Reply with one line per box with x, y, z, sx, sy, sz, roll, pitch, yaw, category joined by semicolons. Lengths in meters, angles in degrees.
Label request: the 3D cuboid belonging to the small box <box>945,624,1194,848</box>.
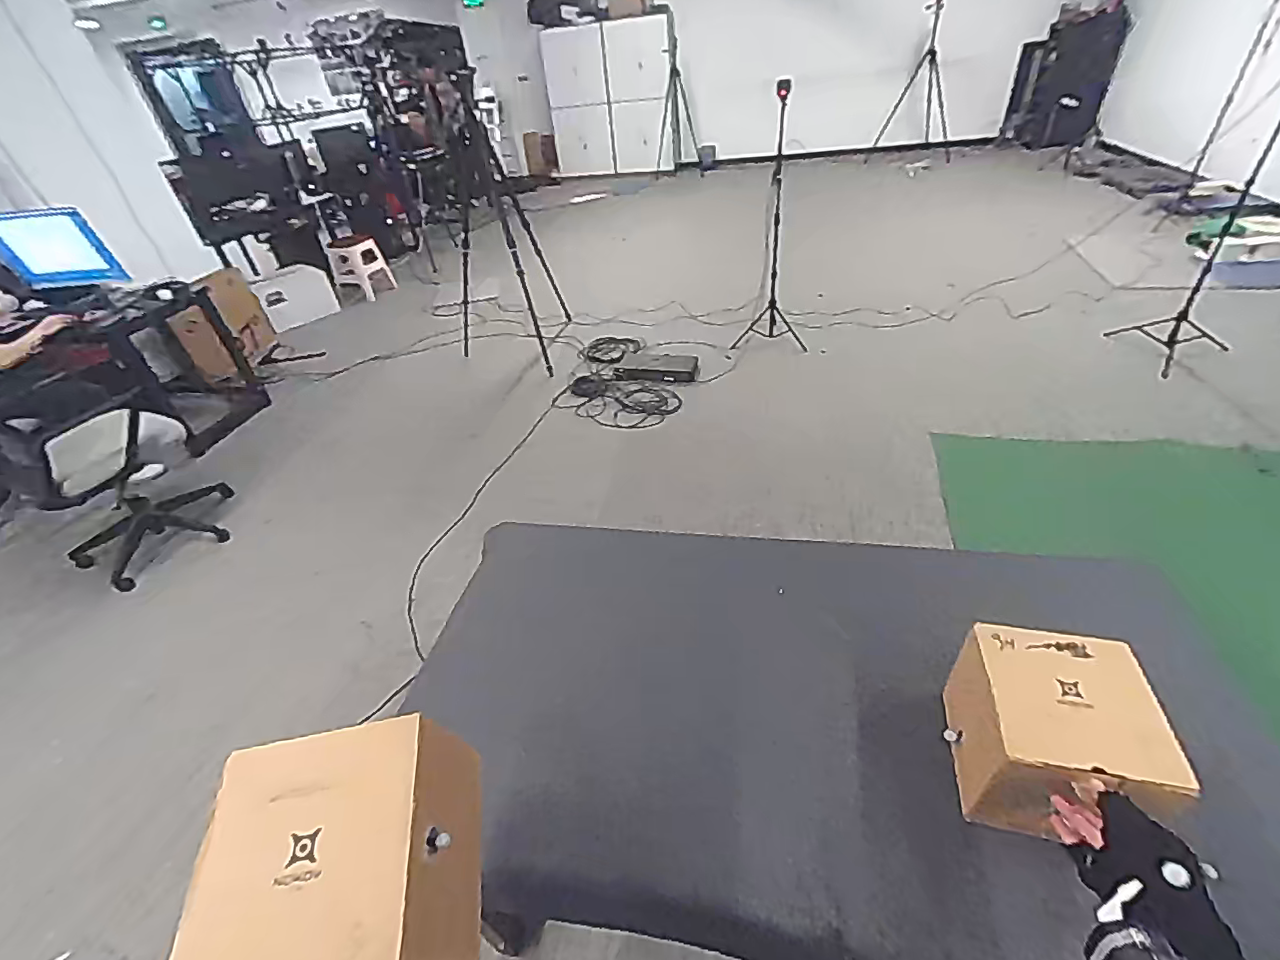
0.486;0.306;0.650;0.168;0.176;0.179;5;40;15;small box

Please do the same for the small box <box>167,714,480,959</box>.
-0.243;0.328;0.464;0.168;0.176;0.179;-11;50;-3;small box
